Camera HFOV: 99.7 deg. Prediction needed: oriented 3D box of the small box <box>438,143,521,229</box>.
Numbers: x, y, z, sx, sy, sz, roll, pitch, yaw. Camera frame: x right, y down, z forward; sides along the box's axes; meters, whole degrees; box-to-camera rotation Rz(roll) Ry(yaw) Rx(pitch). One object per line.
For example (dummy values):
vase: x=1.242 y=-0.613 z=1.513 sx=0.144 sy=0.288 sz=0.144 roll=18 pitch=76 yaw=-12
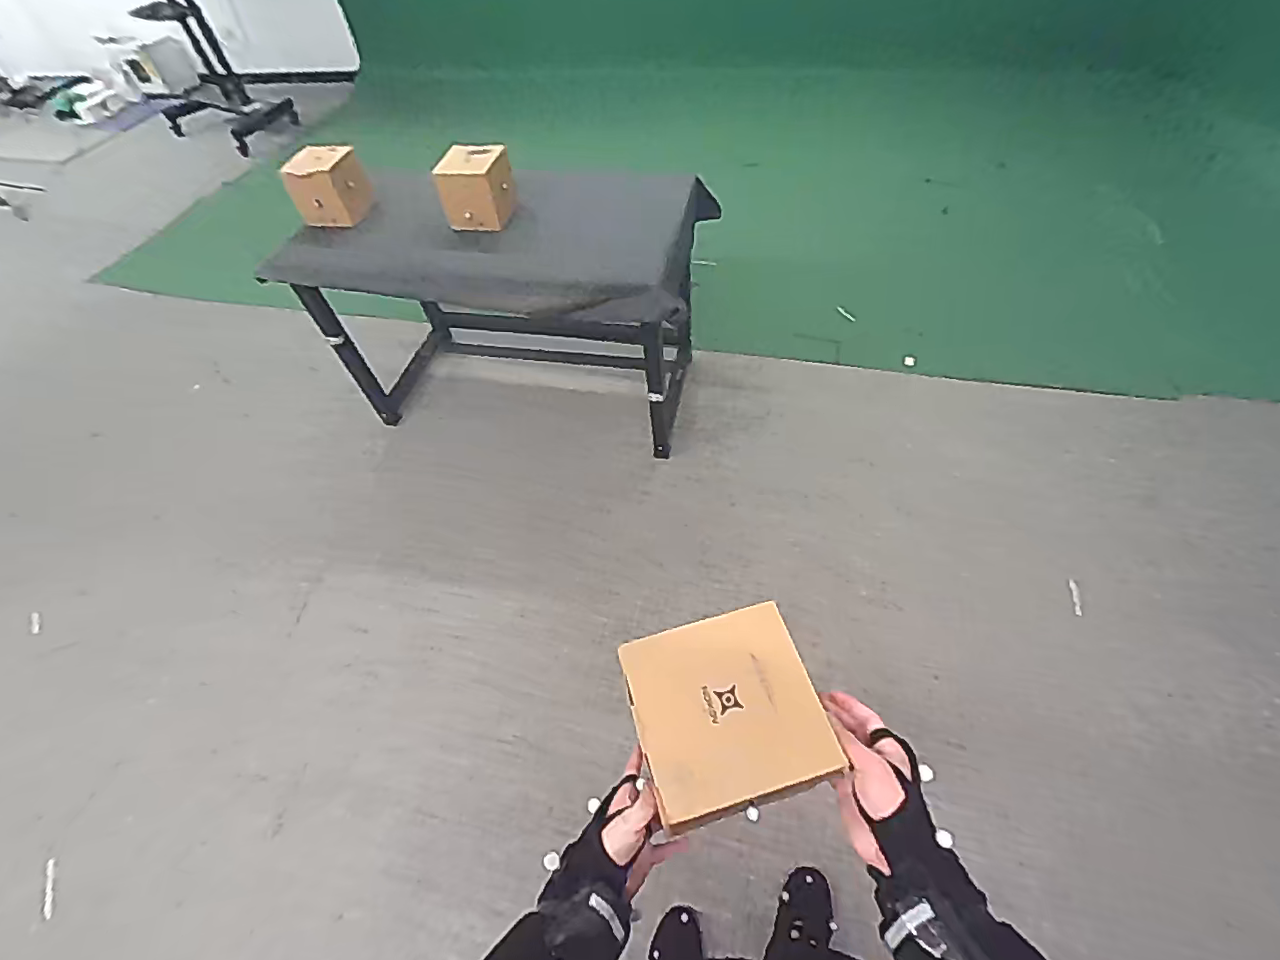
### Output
small box: x=-0.469 y=-0.879 z=1.615 sx=0.168 sy=0.176 sz=0.179 roll=6 pitch=56 yaw=11

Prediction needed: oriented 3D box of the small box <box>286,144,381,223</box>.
small box: x=-0.957 y=-0.933 z=1.708 sx=0.168 sy=0.176 sz=0.179 roll=5 pitch=55 yaw=9

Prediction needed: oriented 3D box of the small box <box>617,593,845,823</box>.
small box: x=0.084 y=0.249 z=0.580 sx=0.179 sy=0.176 sz=0.168 roll=-15 pitch=56 yaw=-8
